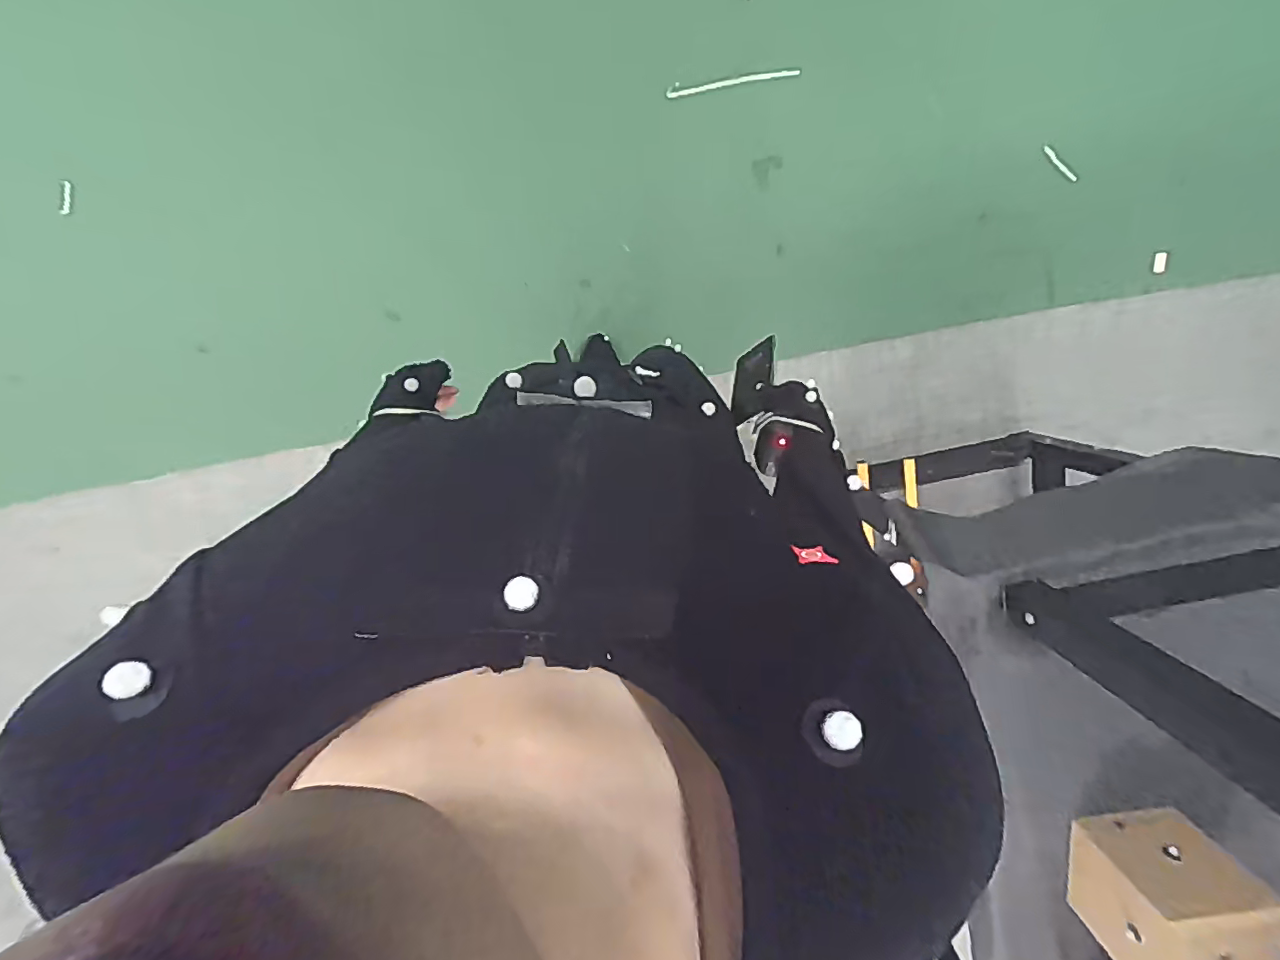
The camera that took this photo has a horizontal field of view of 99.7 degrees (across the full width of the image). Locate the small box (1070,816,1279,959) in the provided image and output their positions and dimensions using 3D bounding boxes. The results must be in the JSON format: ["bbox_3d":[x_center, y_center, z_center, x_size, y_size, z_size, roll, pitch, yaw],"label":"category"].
[{"bbox_3d":[0.794,0.641,0.815,0.168,0.176,0.179,-8,103,1],"label":"small box"}]
